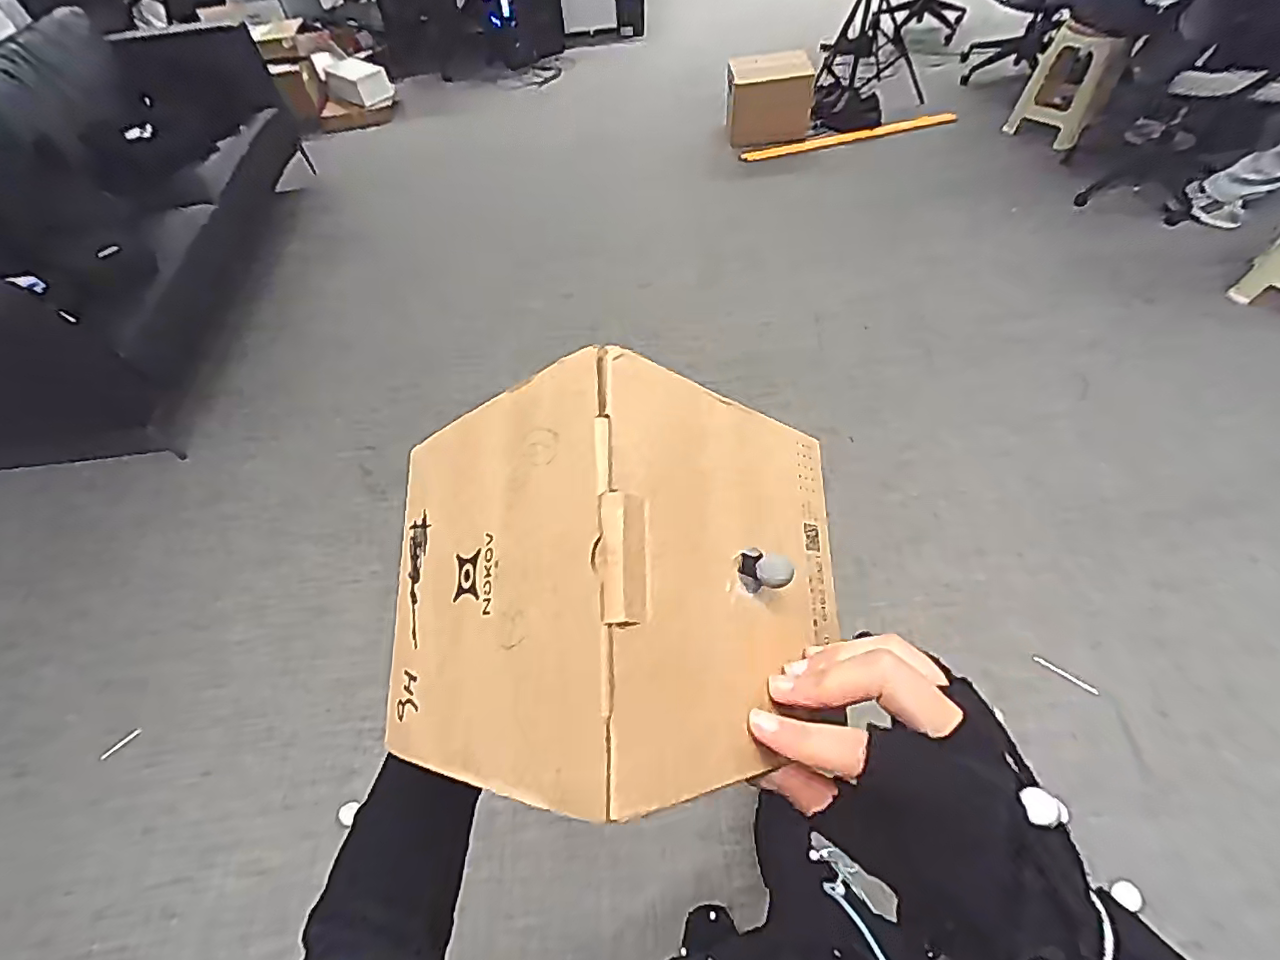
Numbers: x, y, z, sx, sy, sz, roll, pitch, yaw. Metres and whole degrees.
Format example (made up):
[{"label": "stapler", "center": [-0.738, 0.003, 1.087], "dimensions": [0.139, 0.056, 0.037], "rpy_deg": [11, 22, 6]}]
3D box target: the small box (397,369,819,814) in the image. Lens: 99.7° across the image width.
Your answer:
[{"label": "small box", "center": [-0.013, 0.061, 0.308], "dimensions": [0.179, 0.176, 0.168], "rpy_deg": [-16, 69, 42]}]
